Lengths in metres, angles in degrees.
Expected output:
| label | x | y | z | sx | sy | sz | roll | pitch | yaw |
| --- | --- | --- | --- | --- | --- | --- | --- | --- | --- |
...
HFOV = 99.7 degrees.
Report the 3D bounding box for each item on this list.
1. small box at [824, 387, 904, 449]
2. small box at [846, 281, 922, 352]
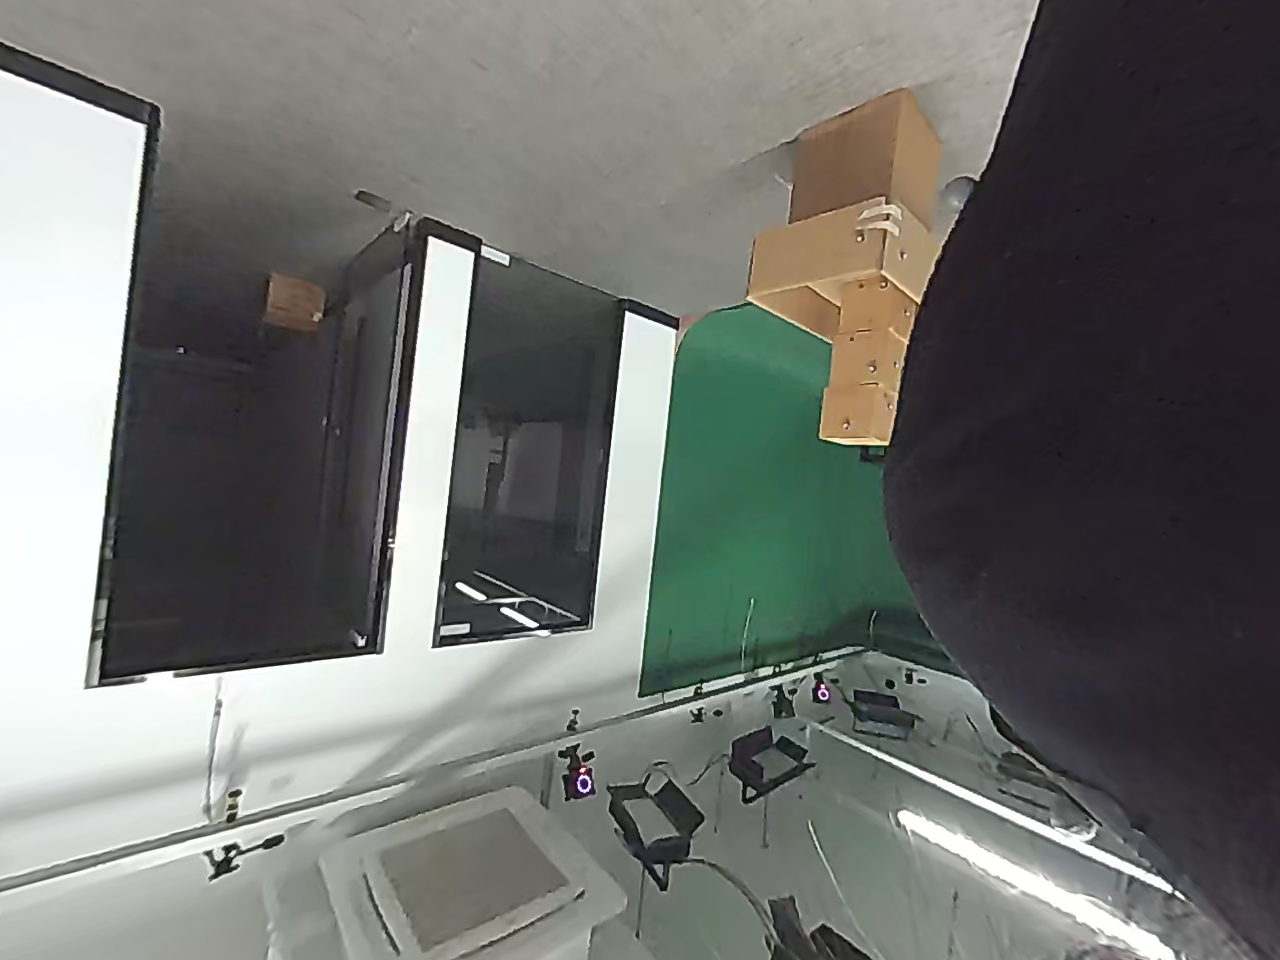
| label | x | y | z | sx | sy | sz | roll | pitch | yaw |
| --- | --- | --- | --- | --- | --- | --- | --- | --- | --- |
| small box | 0.713 | -0.195 | 1.717 | 0.168 | 0.176 | 0.179 | 8 | 179 | -41 |
| small box | 0.772 | -0.517 | 1.708 | 0.179 | 0.176 | 0.168 | 8 | 179 | -44 |
